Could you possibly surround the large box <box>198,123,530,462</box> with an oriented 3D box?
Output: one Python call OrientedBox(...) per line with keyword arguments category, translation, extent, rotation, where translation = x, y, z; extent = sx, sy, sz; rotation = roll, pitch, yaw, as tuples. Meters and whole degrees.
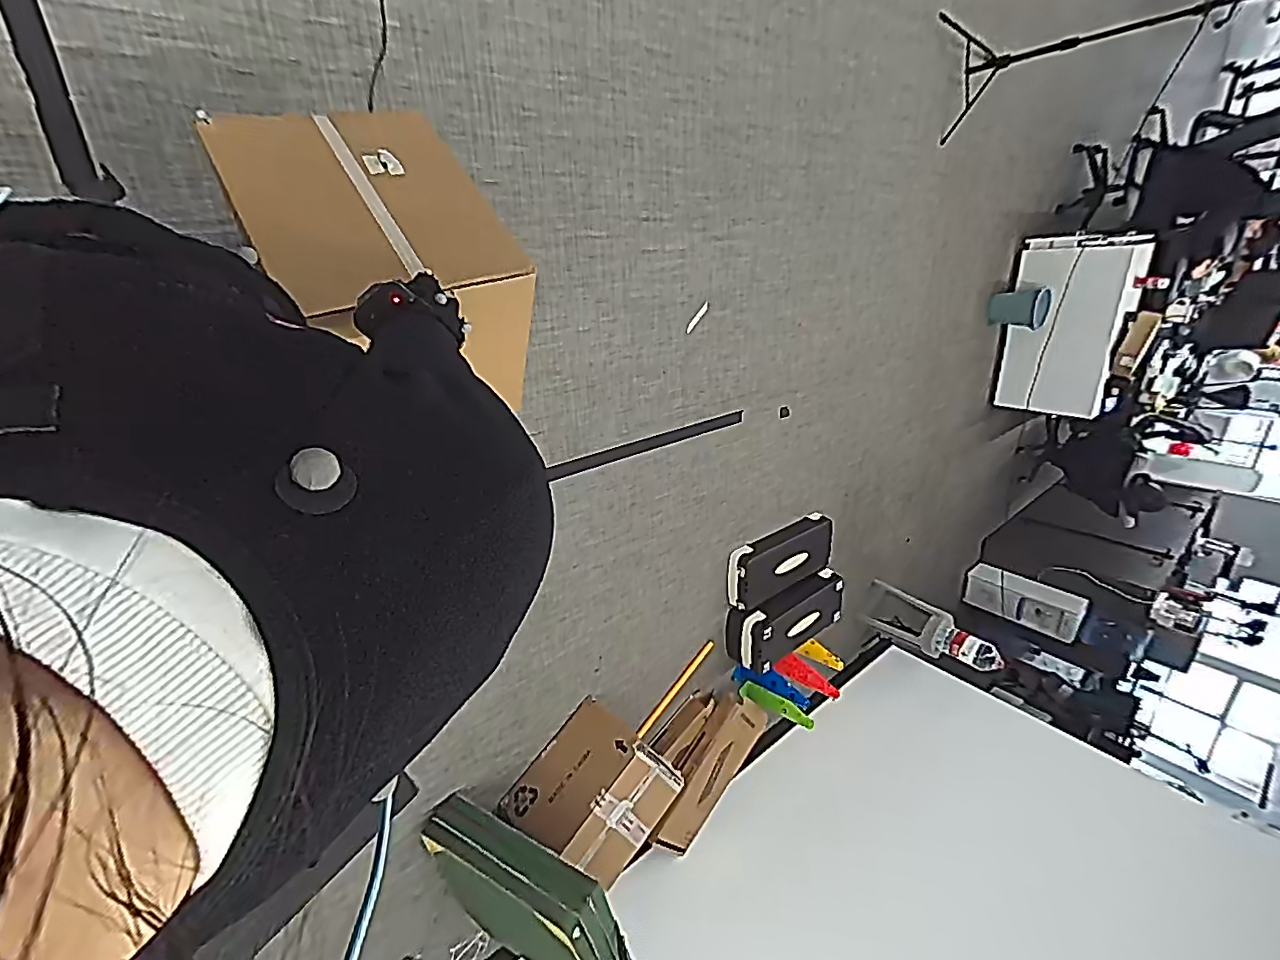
OrientedBox(category="large box", translation=(-0.421, -0.306, 0.882), extent=(0.320, 0.408, 0.320), rotation=(-25, 158, -30))
